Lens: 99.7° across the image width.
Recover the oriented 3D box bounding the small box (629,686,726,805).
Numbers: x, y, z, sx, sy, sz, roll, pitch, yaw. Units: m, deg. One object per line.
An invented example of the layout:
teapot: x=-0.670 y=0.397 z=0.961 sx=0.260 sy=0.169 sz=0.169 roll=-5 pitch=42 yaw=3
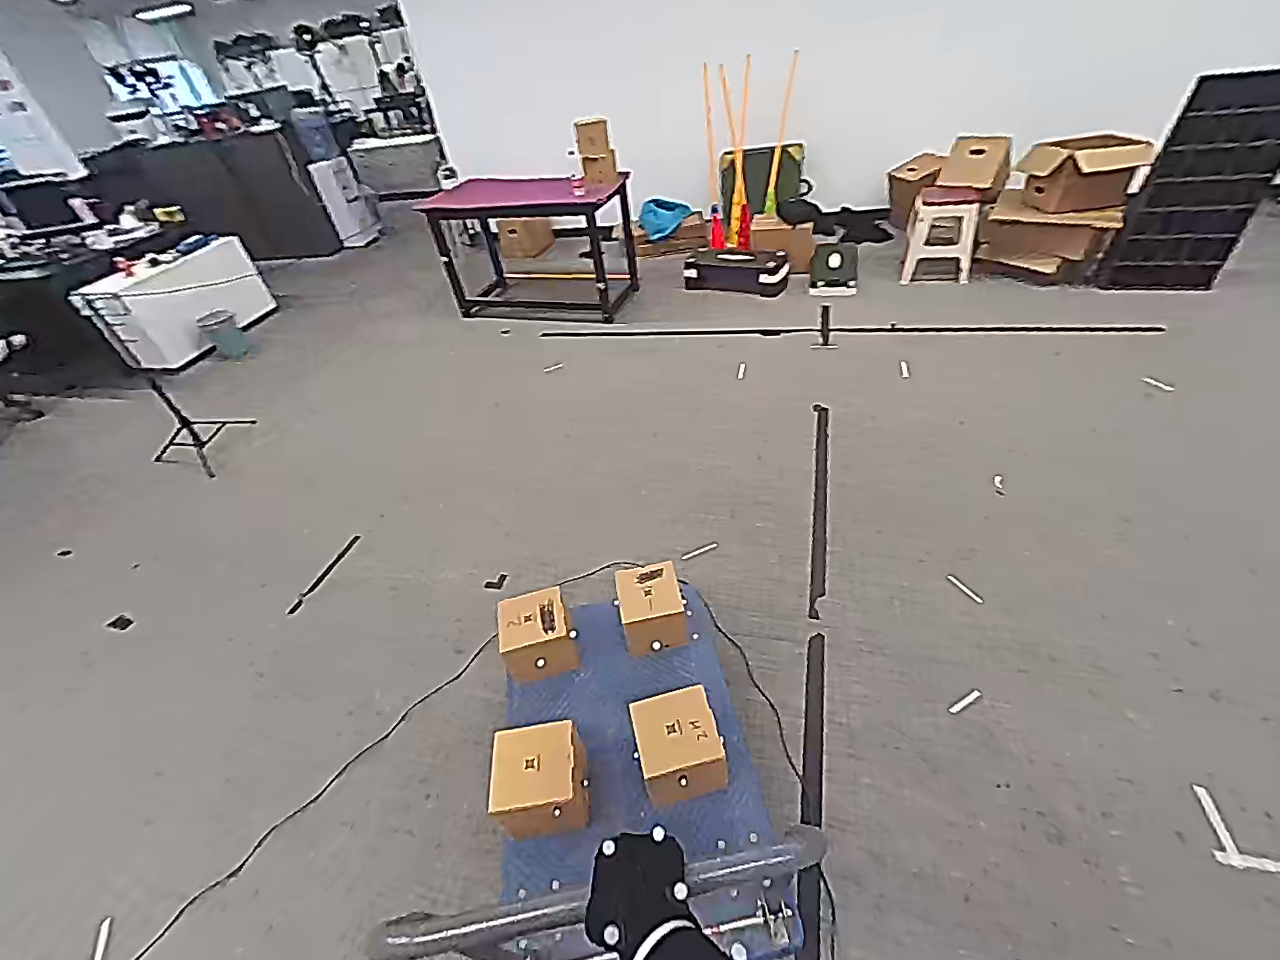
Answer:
small box: x=0.084 y=0.595 z=1.205 sx=0.179 sy=0.176 sz=0.168 roll=-13 pitch=41 yaw=-4

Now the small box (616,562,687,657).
small box: x=0.032 y=0.356 z=1.490 sx=0.168 sy=0.176 sz=0.179 roll=-11 pitch=42 yaw=-2

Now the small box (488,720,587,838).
small box: x=-0.218 y=0.659 z=1.187 sx=0.179 sy=0.176 sz=0.168 roll=-9 pitch=40 yaw=-2
